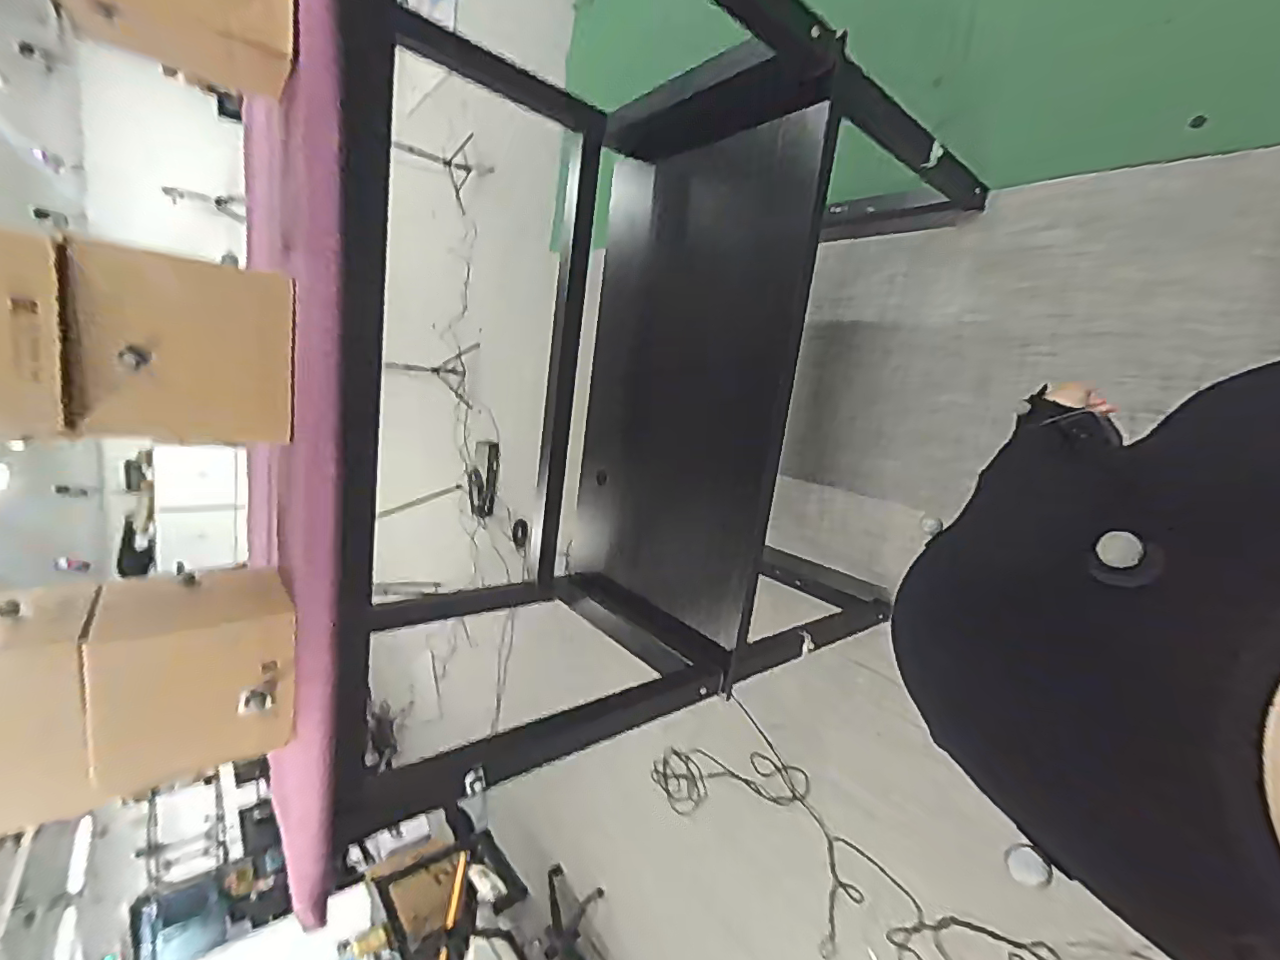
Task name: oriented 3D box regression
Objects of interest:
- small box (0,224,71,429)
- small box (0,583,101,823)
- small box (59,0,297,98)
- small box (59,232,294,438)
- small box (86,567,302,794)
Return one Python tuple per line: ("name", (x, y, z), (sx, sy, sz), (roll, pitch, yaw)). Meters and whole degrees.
("small box", (-0.597, -0.134, 0.466), (0.179, 0.176, 0.168), (14, 101, 50))
("small box", (-0.625, 0.213, 0.510), (0.168, 0.176, 0.179), (13, 102, 49))
("small box", (-0.424, -0.493, 0.503), (0.179, 0.176, 0.168), (25, 111, 49))
("small box", (-0.475, -0.144, 0.576), (0.168, 0.176, 0.179), (21, 106, 49))
("small box", (-0.497, 0.204, 0.614), (0.179, 0.176, 0.168), (14, 103, 48))
